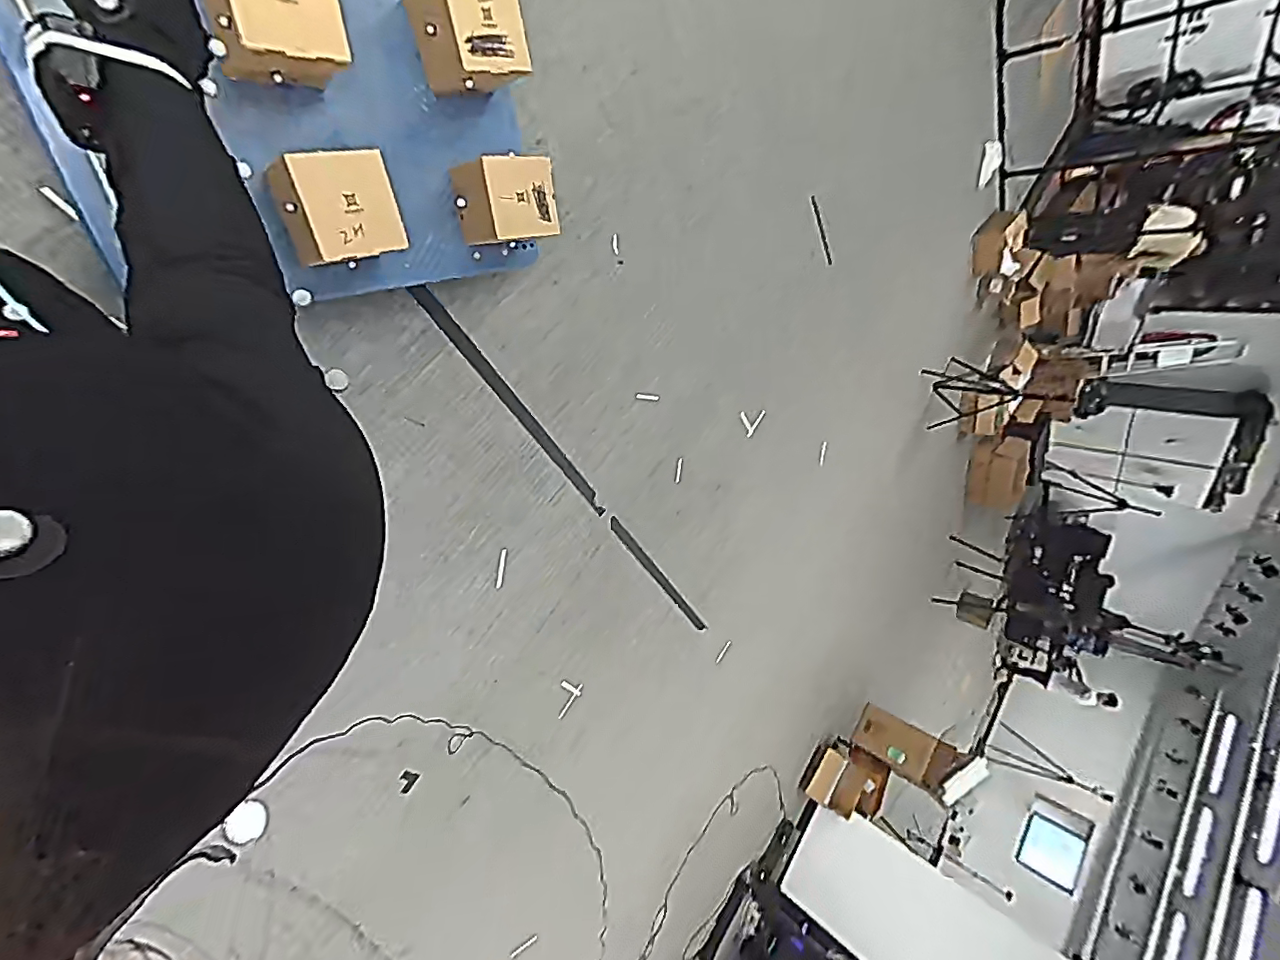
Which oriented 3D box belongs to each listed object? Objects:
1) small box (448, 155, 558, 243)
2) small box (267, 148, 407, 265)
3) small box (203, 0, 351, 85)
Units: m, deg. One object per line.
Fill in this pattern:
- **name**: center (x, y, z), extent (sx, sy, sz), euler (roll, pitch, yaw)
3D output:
- **small box**: center (-0.322, -0.658, 1.276), extent (0.179, 0.176, 0.168), euler (-25, 120, -36)
- **small box**: center (-0.589, -0.526, 1.049), extent (0.168, 0.176, 0.179), euler (-30, 123, -35)
- **small box**: center (-0.627, -0.804, 0.917), extent (0.168, 0.176, 0.179), euler (-26, 122, -39)
